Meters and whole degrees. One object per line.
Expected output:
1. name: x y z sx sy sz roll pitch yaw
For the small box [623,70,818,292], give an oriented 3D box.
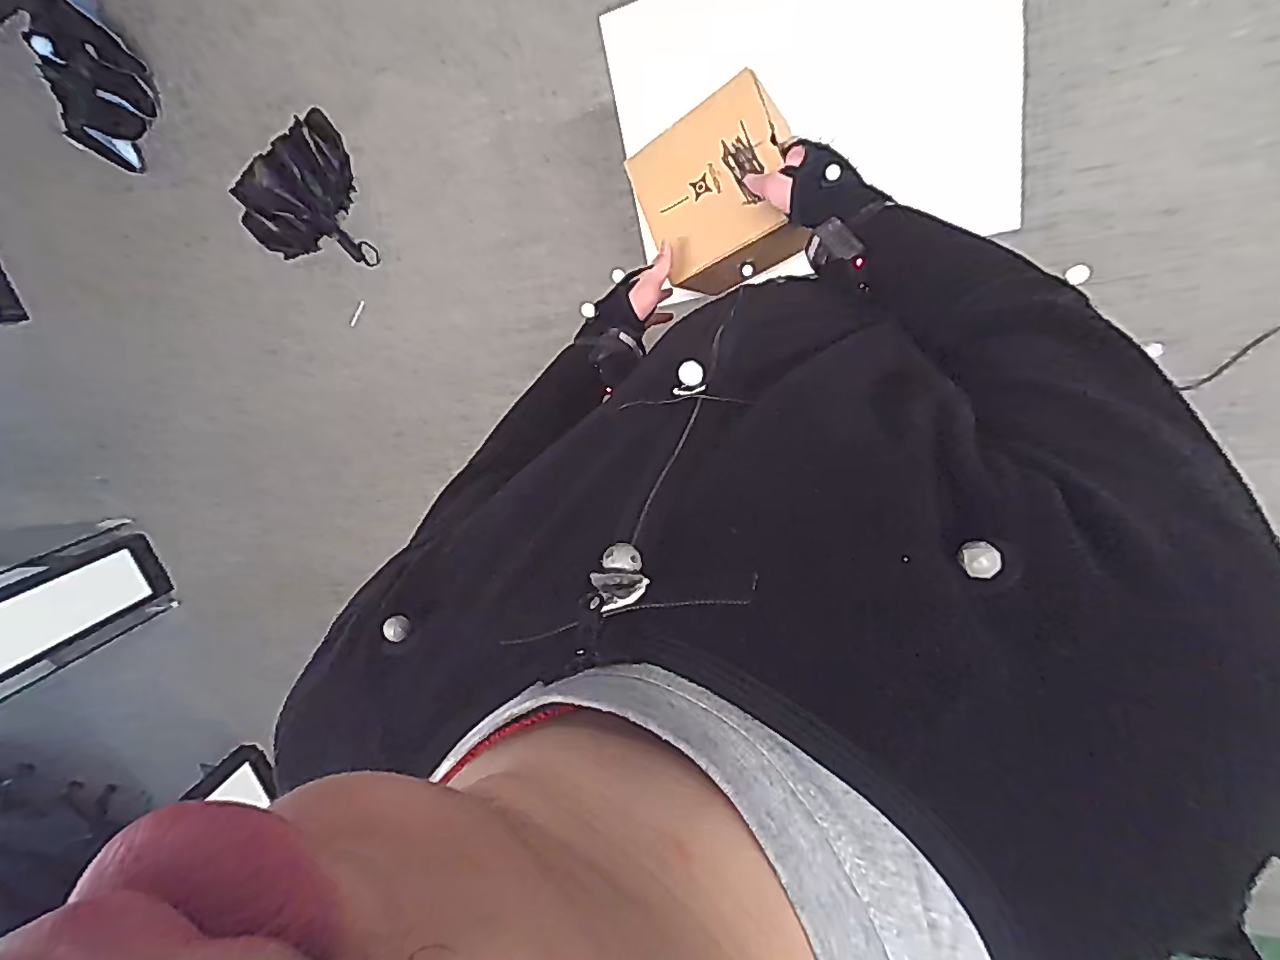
1. small box: 0.114 -0.359 0.691 0.179 0.176 0.168 -21 92 32
